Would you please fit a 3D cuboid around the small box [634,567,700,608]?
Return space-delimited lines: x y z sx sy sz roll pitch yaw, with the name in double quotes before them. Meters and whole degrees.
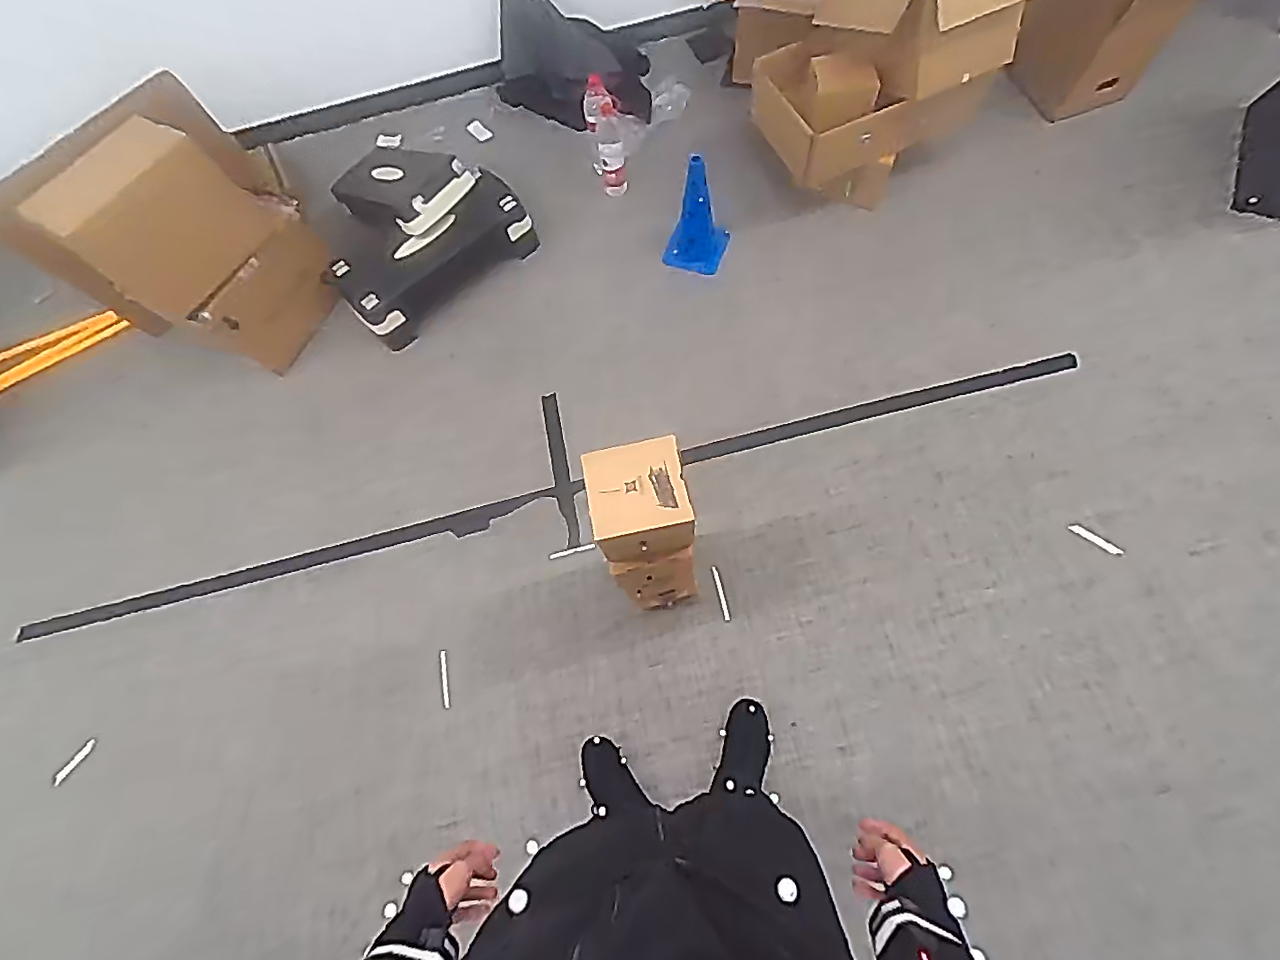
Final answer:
"small box" 0.057 0.235 1.464 0.168 0.176 0.179 -17 70 0

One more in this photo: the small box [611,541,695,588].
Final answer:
"small box" 0.017 0.119 1.160 0.168 0.176 0.179 -13 69 1

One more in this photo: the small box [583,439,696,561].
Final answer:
"small box" 0.003 0.044 1.013 0.179 0.176 0.168 -12 69 2
